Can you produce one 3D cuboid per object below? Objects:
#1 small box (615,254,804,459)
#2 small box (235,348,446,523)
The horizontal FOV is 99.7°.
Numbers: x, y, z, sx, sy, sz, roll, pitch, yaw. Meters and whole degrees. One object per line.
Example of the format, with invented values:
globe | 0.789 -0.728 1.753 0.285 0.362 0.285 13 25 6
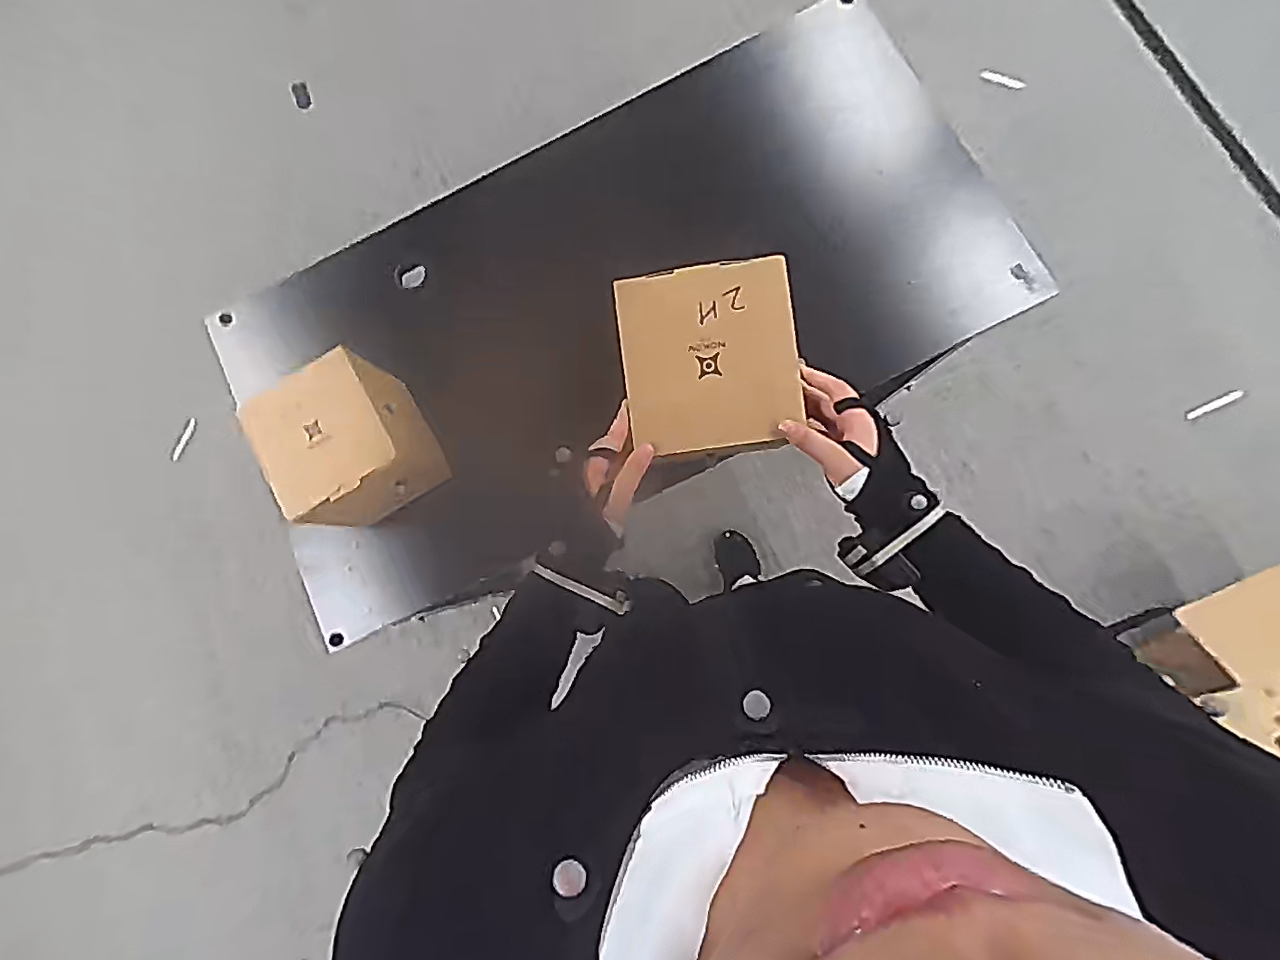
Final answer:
small box | 0.073 -0.117 0.591 0.168 0.176 0.179 -7 89 5
small box | -0.411 -0.050 0.771 0.168 0.176 0.179 -32 80 -1
